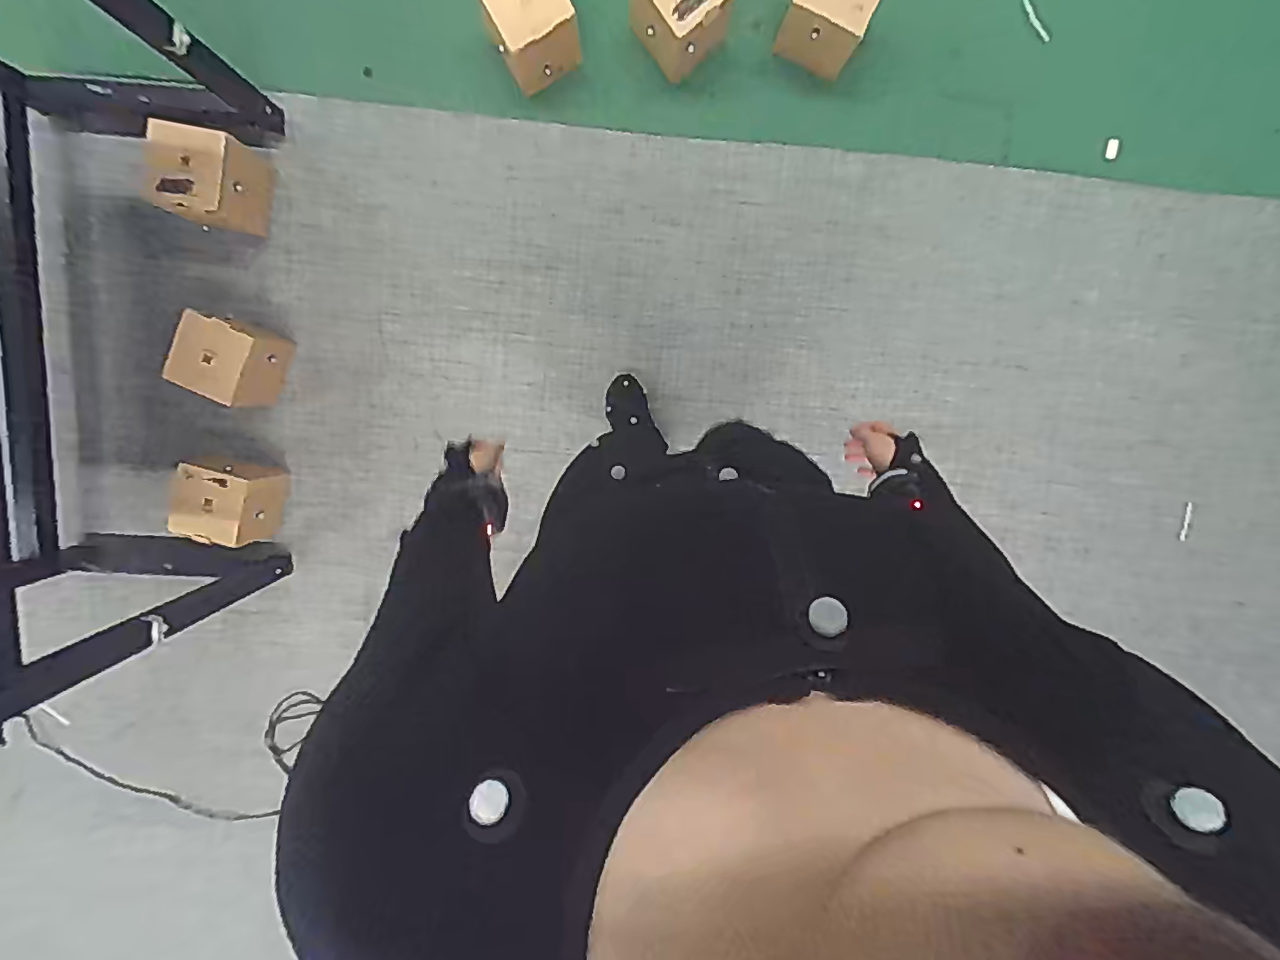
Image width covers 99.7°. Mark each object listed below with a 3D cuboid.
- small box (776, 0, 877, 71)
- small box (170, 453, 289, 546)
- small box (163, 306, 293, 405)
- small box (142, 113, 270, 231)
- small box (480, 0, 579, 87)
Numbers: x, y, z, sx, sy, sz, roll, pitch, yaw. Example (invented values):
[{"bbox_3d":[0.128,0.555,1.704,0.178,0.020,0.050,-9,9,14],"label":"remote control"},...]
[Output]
[{"bbox_3d":[0.436,-1.095,1.239,0.179,0.176,0.168,23,97,-6],"label":"small box"},{"bbox_3d":[-1.026,0.044,1.363,0.168,0.176,0.179,16,99,-5],"label":"small box"},{"bbox_3d":[-0.986,-0.297,1.313,0.168,0.176,0.179,24,98,-5],"label":"small box"},{"bbox_3d":[-0.993,-0.699,1.251,0.168,0.176,0.179,9,97,-4],"label":"small box"},{"bbox_3d":[-0.253,-1.054,1.225,0.168,0.176,0.179,-31,99,3],"label":"small box"}]
